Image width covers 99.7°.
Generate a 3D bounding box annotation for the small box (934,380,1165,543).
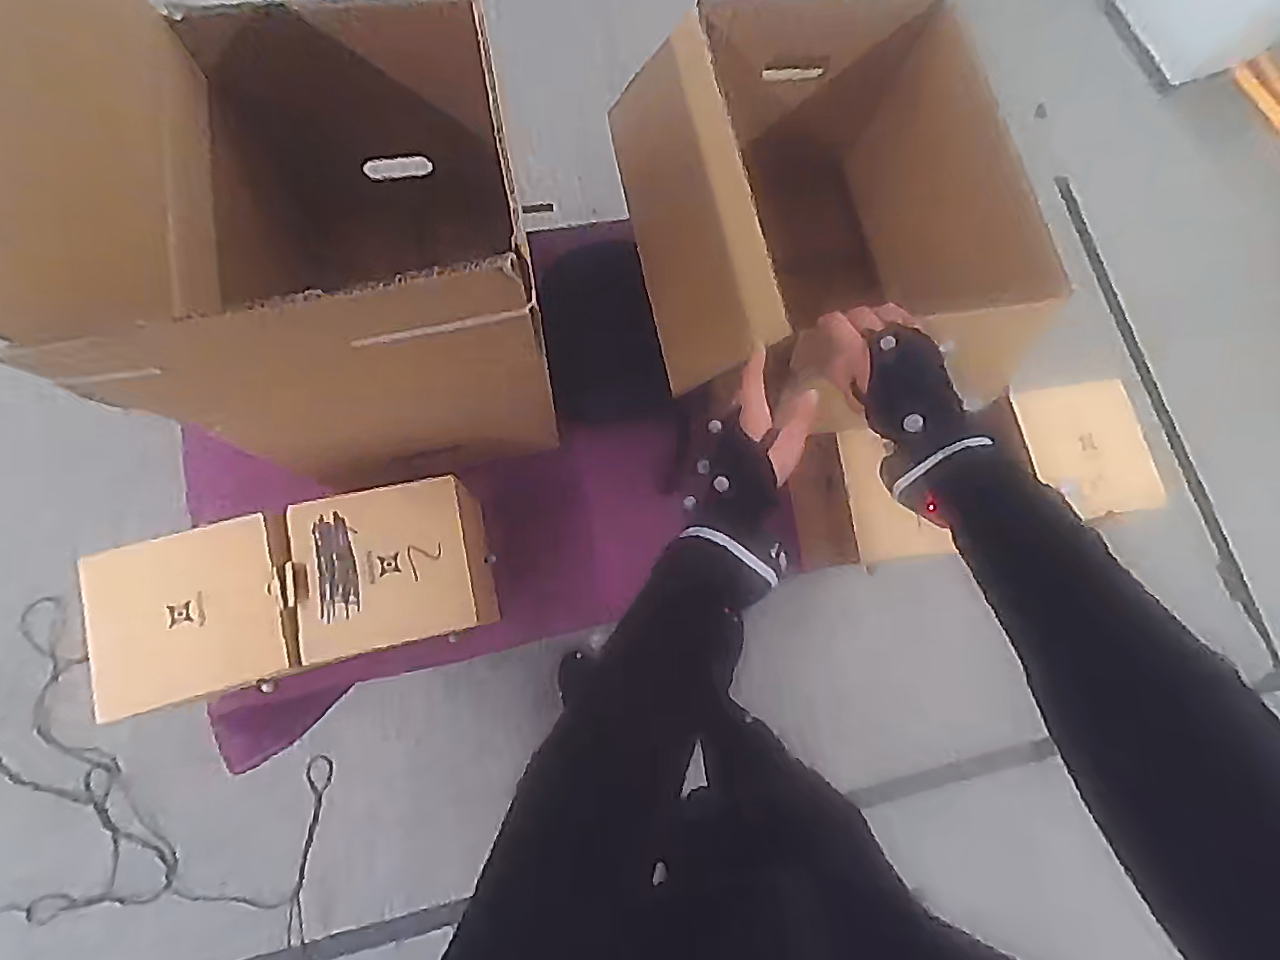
[{"bbox_3d":[0.549,-0.018,0.755,0.168,0.176,0.179,-9,77,-6],"label":"small box"}]
